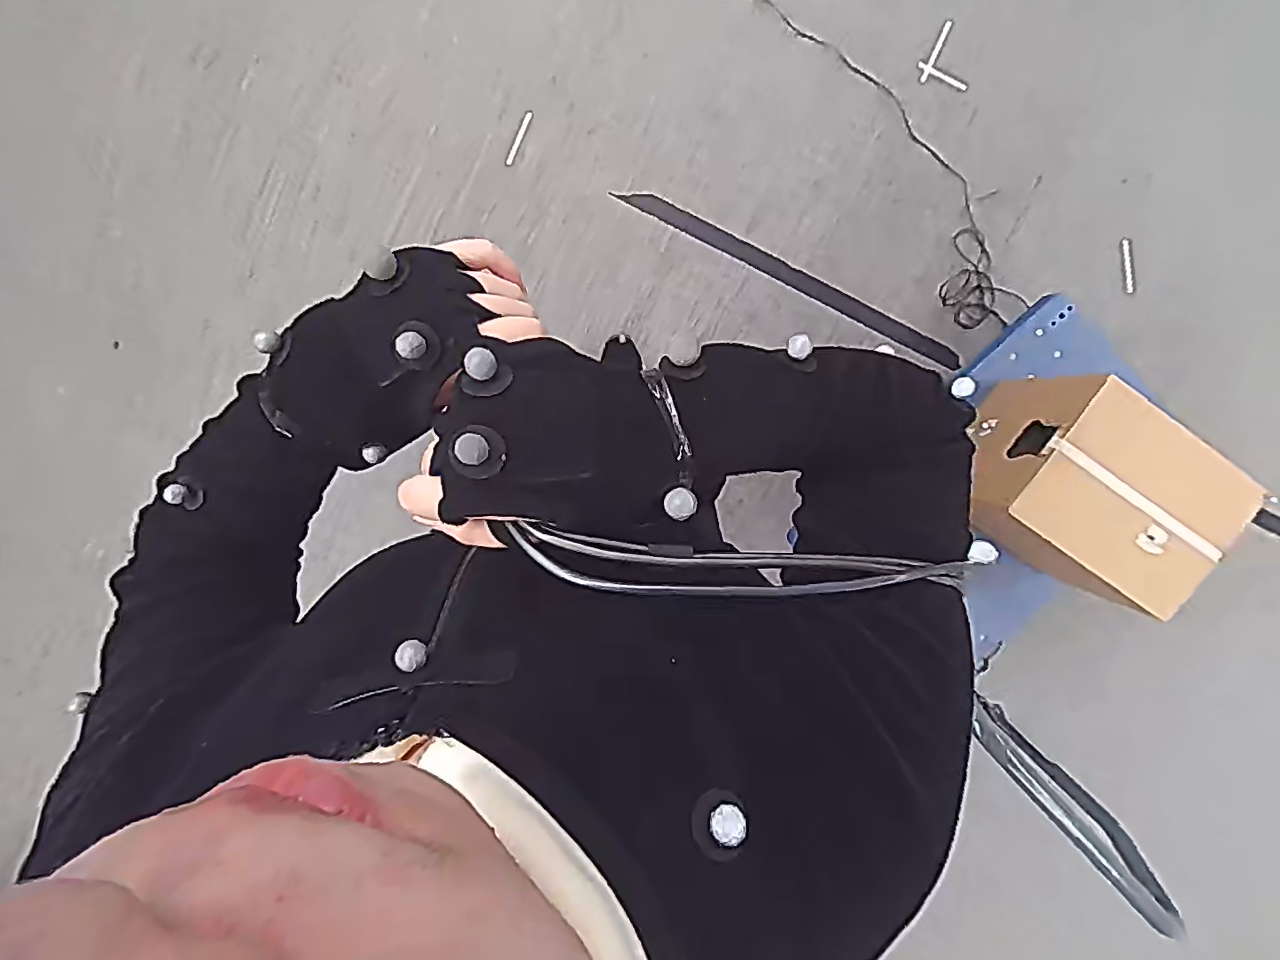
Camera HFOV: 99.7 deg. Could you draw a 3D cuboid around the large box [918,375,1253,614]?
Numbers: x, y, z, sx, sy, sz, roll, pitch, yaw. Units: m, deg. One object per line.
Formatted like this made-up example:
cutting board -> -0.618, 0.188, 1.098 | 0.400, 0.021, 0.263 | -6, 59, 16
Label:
large box -> 0.921, 0.015, 1.174 | 0.408, 0.320, 0.320 | 34, 96, -6
